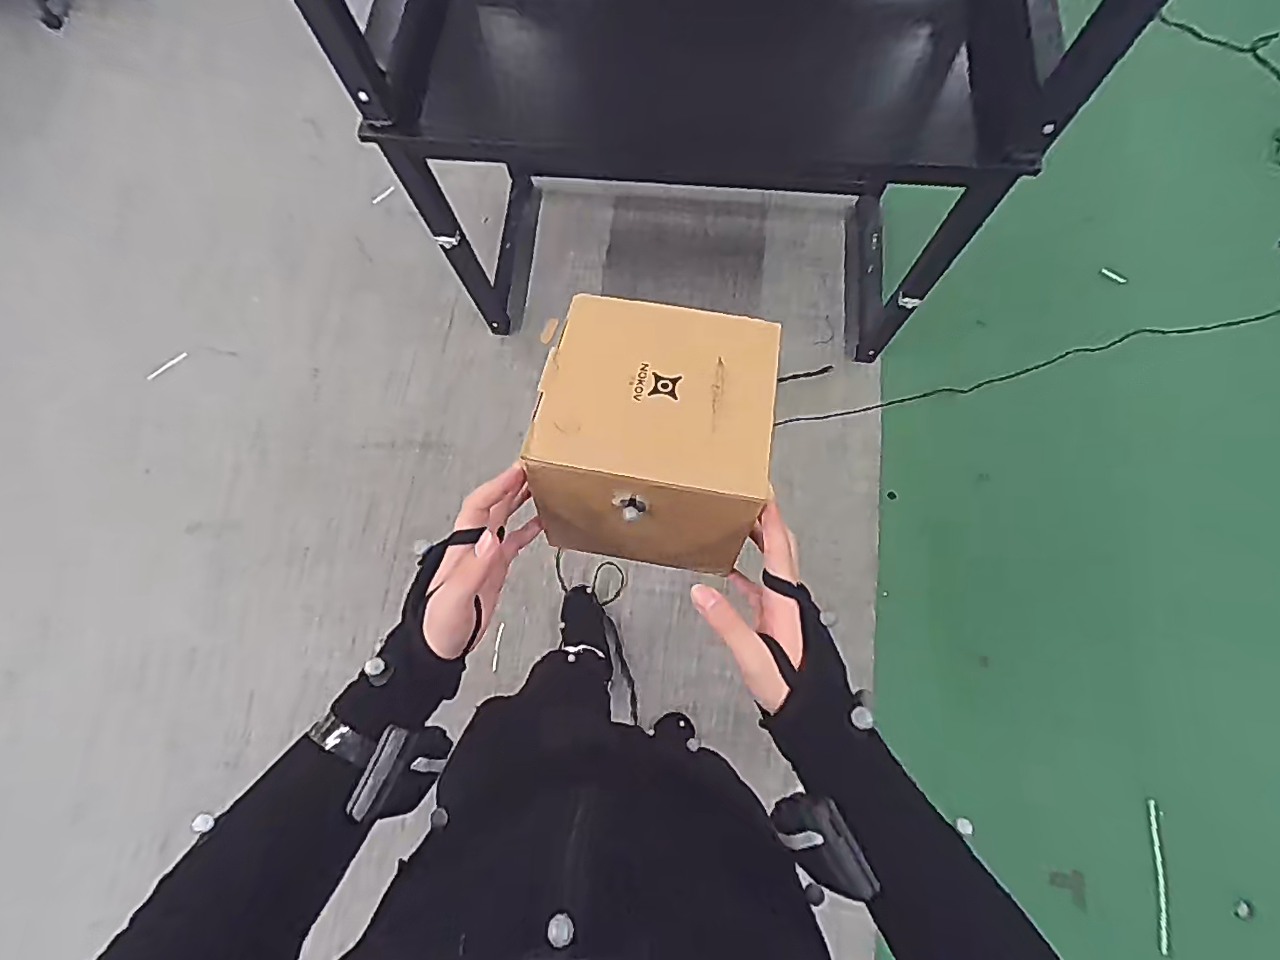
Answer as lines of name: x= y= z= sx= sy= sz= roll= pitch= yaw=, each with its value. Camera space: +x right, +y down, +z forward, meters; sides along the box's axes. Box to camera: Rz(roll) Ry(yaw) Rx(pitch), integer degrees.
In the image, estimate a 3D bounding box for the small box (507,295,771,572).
small box: x=0.005 y=-0.032 z=0.478 sx=0.179 sy=0.176 sz=0.168 roll=10 pitch=61 yaw=4
